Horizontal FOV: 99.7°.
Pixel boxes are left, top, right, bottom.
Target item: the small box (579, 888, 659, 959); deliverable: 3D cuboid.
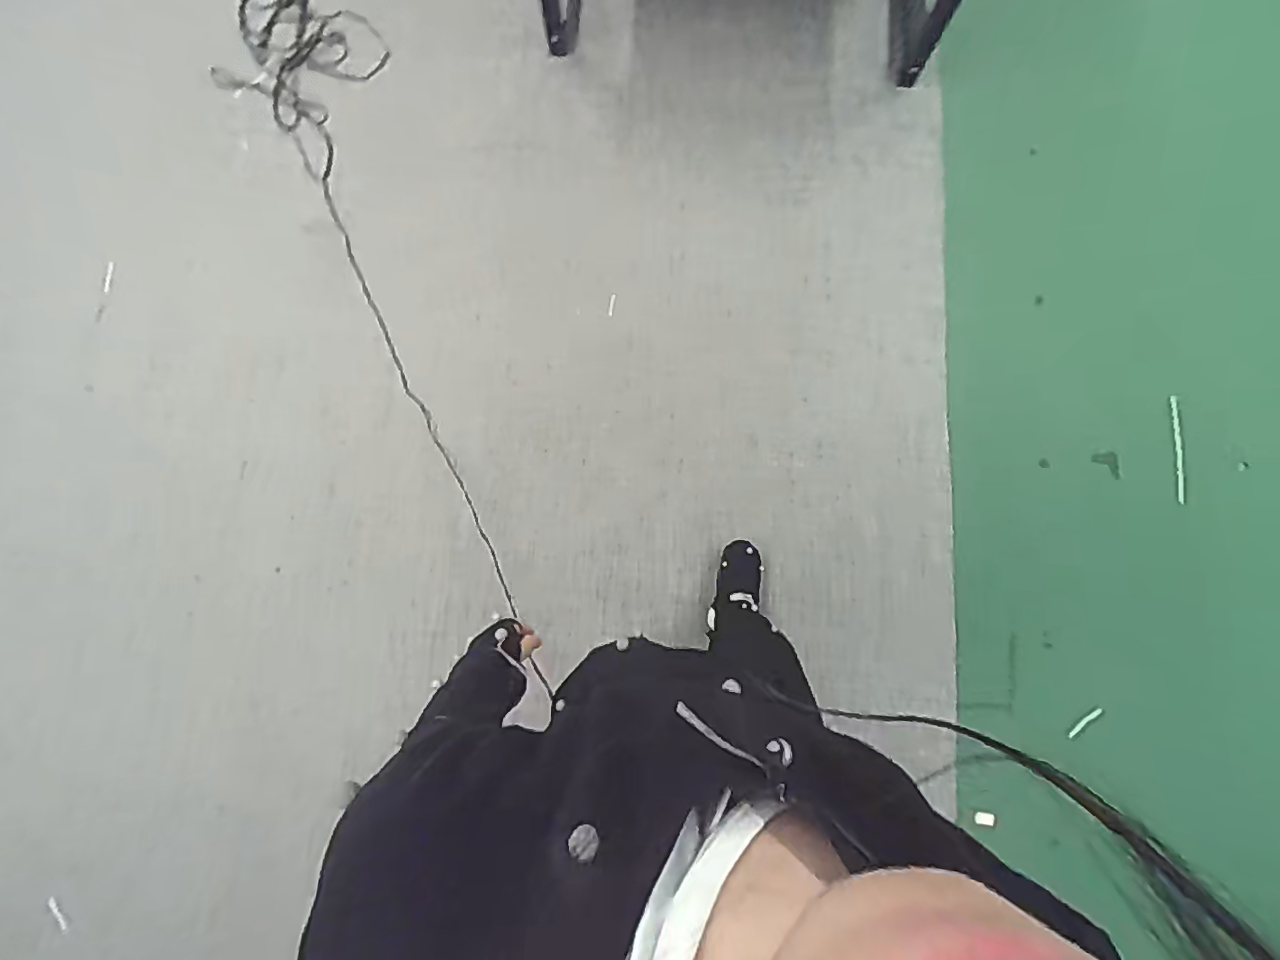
[{"bbox_3d":[-0.054,1.119,1.285,0.168,0.176,0.179,11,81,2],"label":"small box"}]
